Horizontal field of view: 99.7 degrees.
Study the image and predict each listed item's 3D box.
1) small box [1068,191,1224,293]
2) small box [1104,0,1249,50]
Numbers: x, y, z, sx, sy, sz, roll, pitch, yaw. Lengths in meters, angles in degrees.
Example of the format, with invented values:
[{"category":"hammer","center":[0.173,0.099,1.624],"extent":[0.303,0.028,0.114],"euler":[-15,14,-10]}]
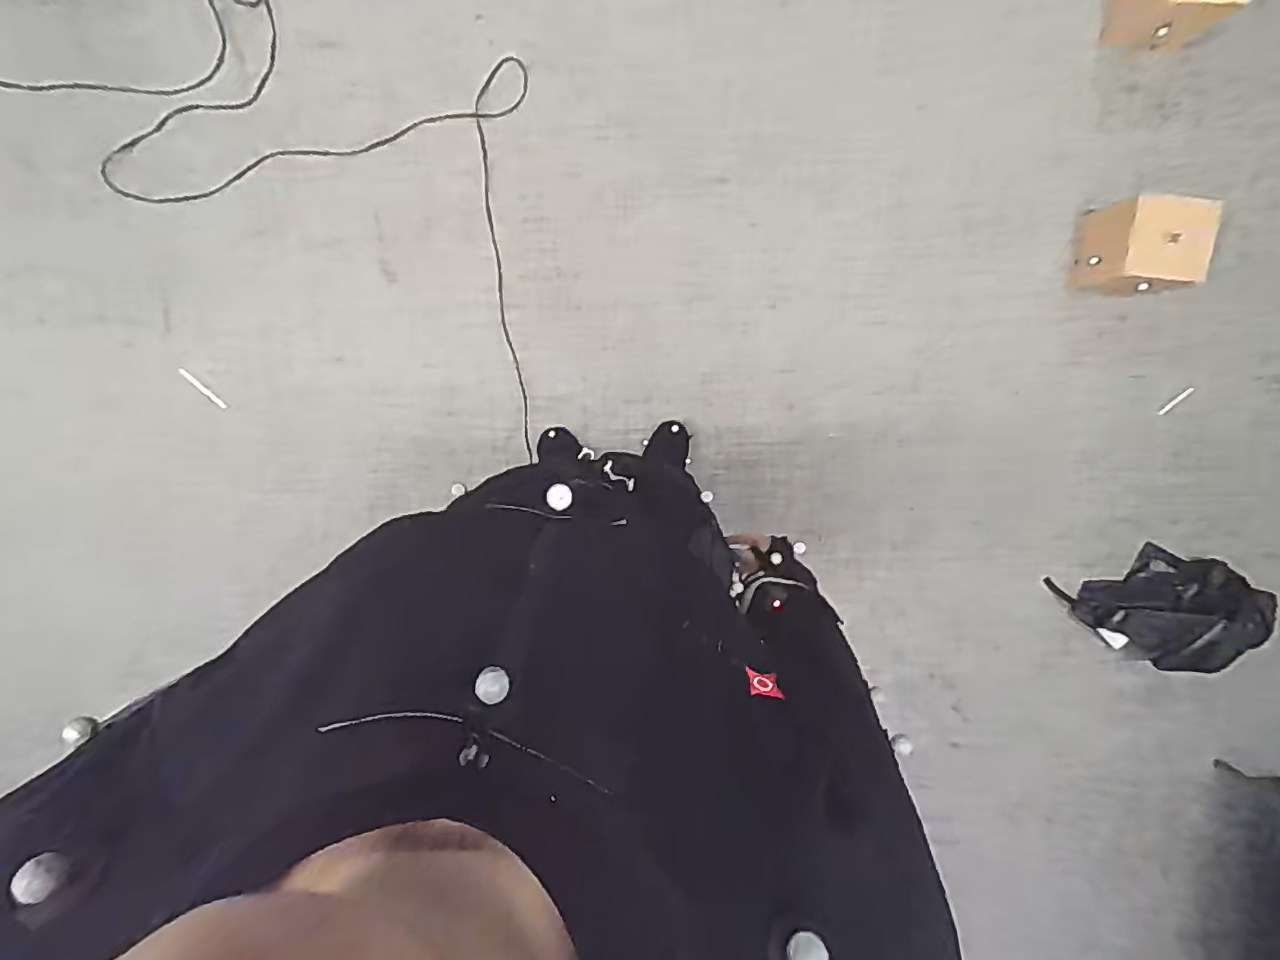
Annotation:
[{"category":"small box","center":[1.107,-0.519,1.200],"extent":[0.179,0.176,0.168],"euler":[5,100,-1]},{"category":"small box","center":[1.120,-1.037,1.124],"extent":[0.168,0.176,0.179],"euler":[1,98,1]}]
